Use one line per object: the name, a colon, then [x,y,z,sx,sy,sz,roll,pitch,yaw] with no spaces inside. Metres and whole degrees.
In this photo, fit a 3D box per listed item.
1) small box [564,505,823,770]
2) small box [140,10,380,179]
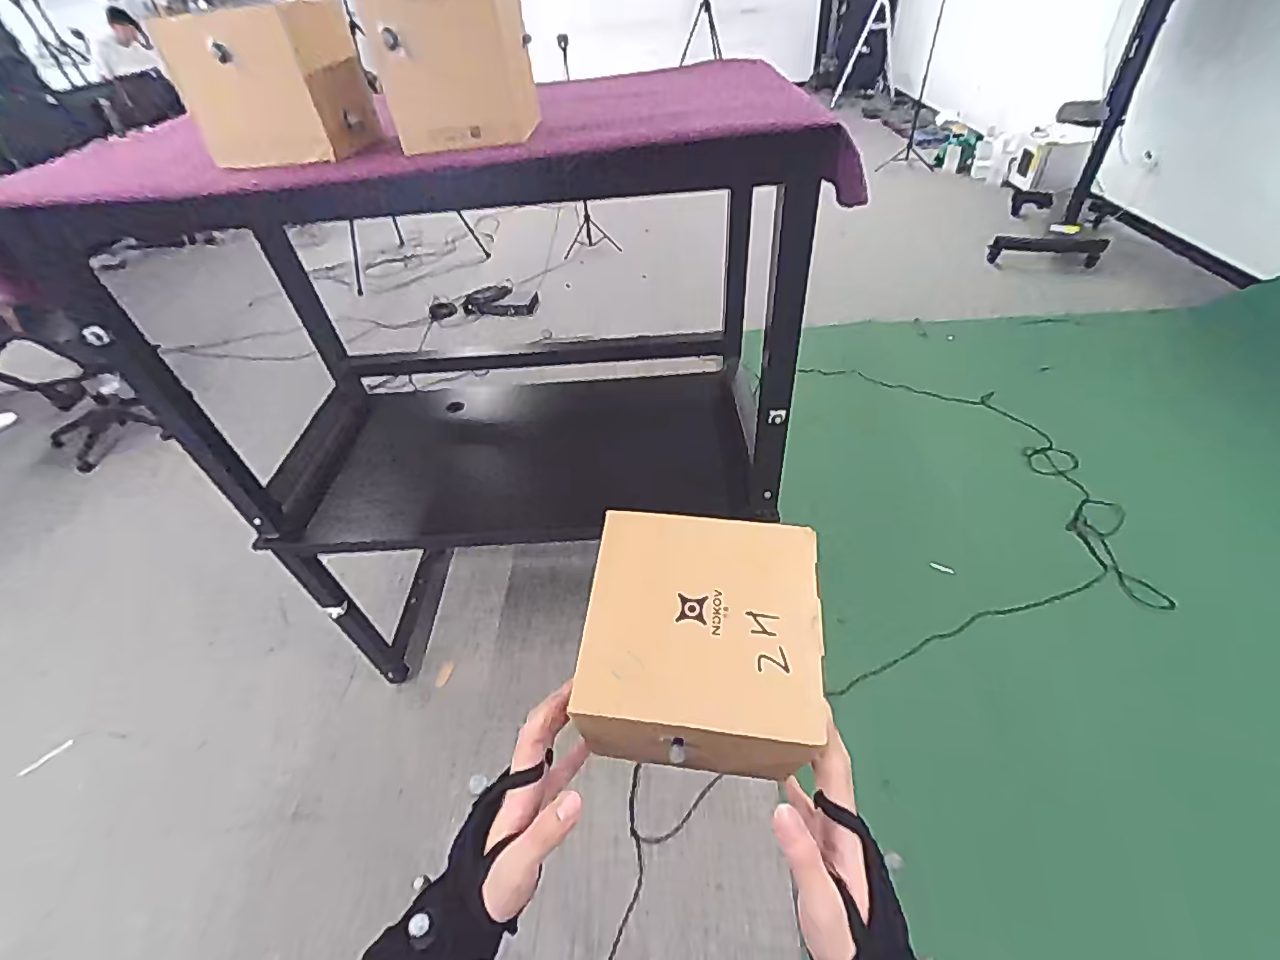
small box: [0.048,0.140,0.467,0.179,0.176,0.168,5,55,7]
small box: [-0.499,-0.527,0.744,0.179,0.176,0.168,-1,43,5]
